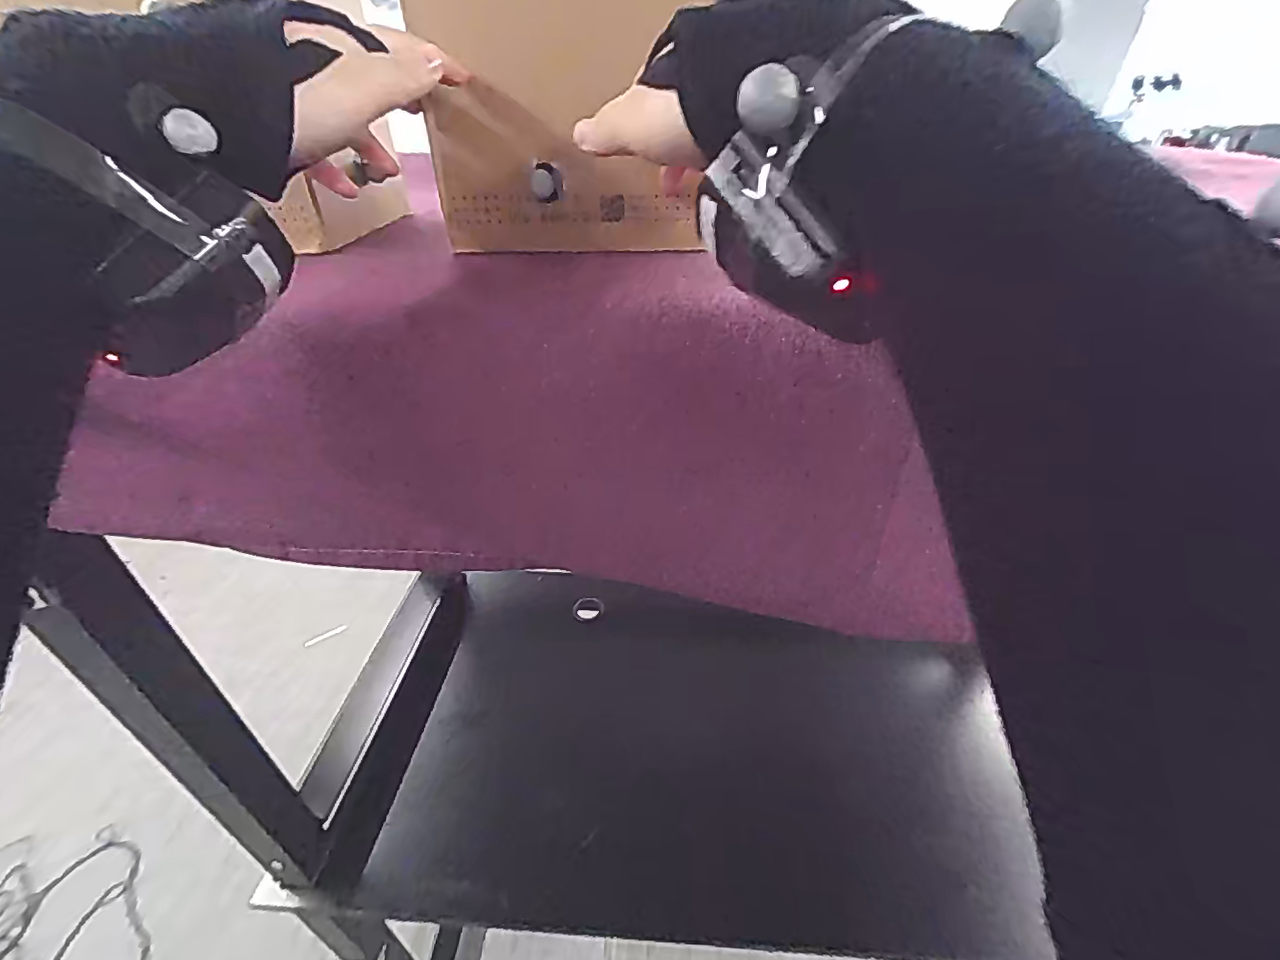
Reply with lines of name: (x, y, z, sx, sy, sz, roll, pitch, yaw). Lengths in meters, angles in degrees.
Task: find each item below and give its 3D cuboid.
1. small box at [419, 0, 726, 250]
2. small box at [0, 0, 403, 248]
small box: (-0.034, -0.261, 0.363, 0.168, 0.176, 0.179, 0, 34, 3)
small box: (-0.279, -0.261, 0.364, 0.168, 0.176, 0.179, -3, 33, -2)
